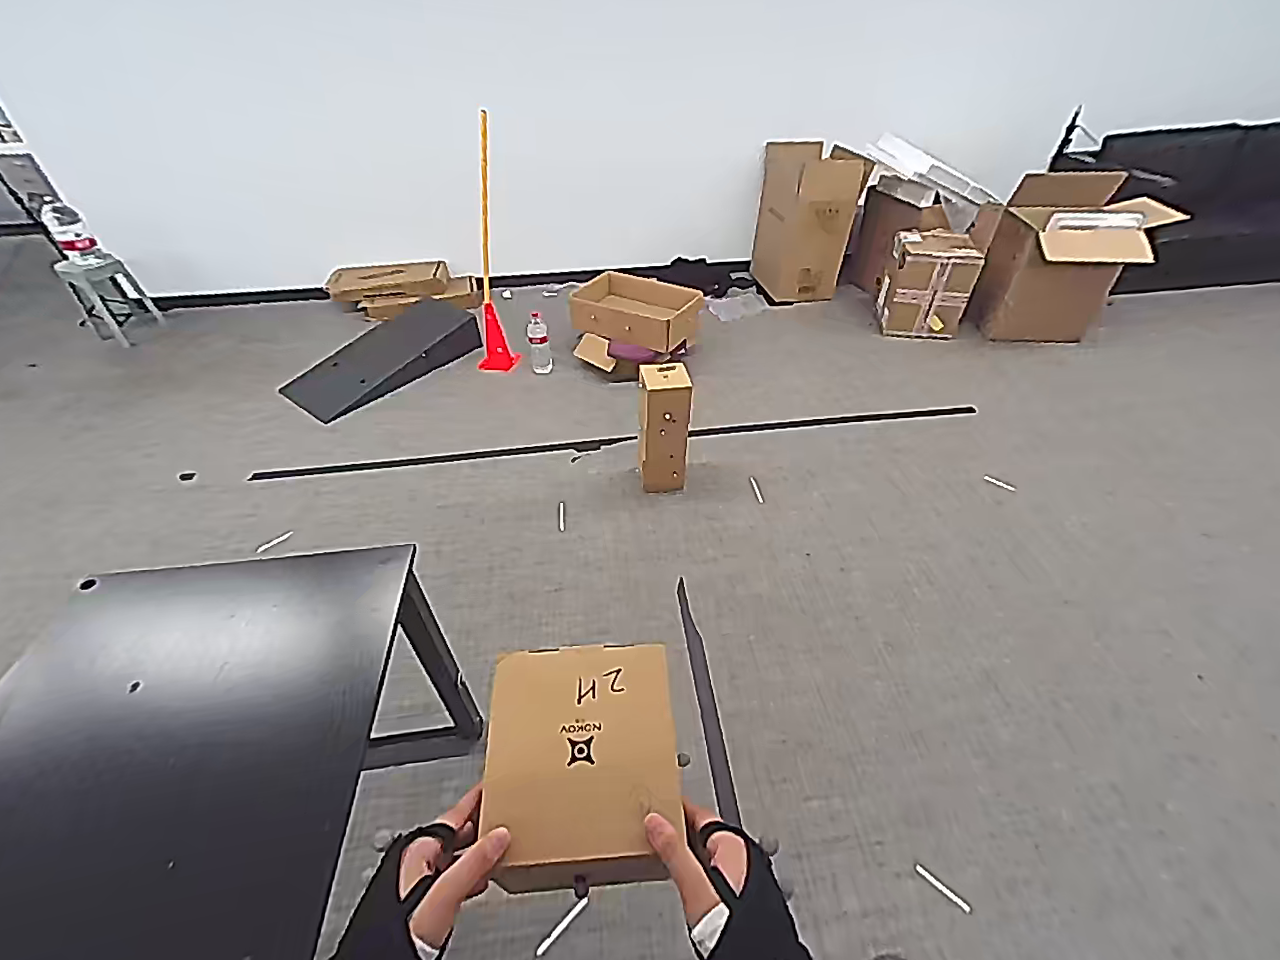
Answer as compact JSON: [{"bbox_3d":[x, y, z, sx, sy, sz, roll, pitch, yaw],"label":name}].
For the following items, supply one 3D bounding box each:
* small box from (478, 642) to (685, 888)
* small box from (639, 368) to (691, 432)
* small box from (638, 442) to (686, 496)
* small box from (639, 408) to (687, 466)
[{"bbox_3d":[-0.050,0.282,0.532,0.168,0.176,0.179,-4,47,-4],"label":"small box"},{"bbox_3d":[0.088,-0.301,2.032,0.168,0.176,0.179,-7,42,-6],"label":"small box"},{"bbox_3d":[0.087,-0.052,2.247,0.179,0.176,0.168,-7,40,-4],"label":"small box"},{"bbox_3d":[0.086,-0.176,2.139,0.168,0.176,0.179,-7,40,-6],"label":"small box"}]
